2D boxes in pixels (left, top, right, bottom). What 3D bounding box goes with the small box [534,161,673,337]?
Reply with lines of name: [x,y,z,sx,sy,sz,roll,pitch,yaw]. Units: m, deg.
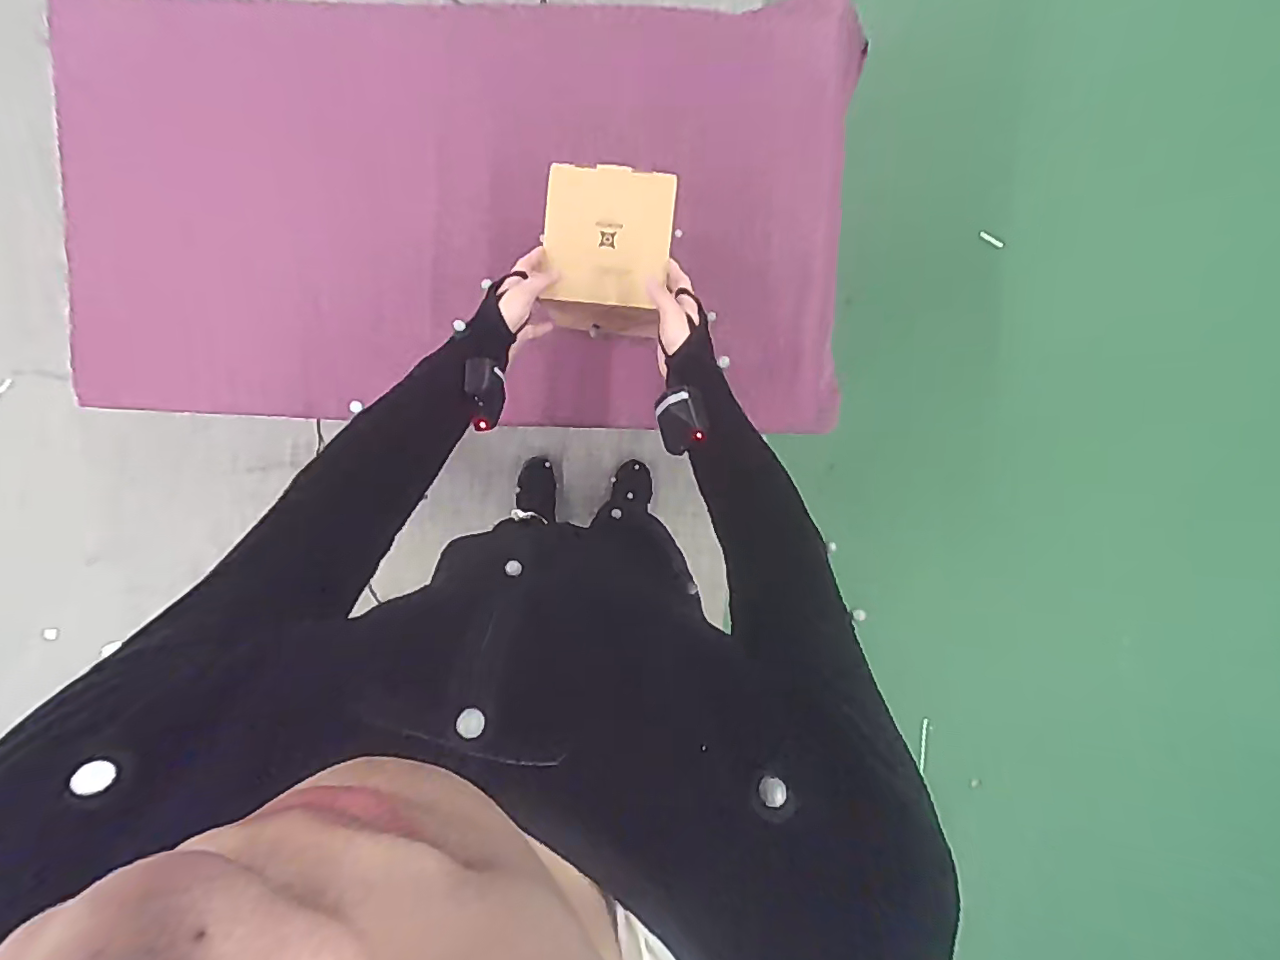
small box: [-0.048,-0.318,0.776,0.168,0.176,0.179,6,93,0]
